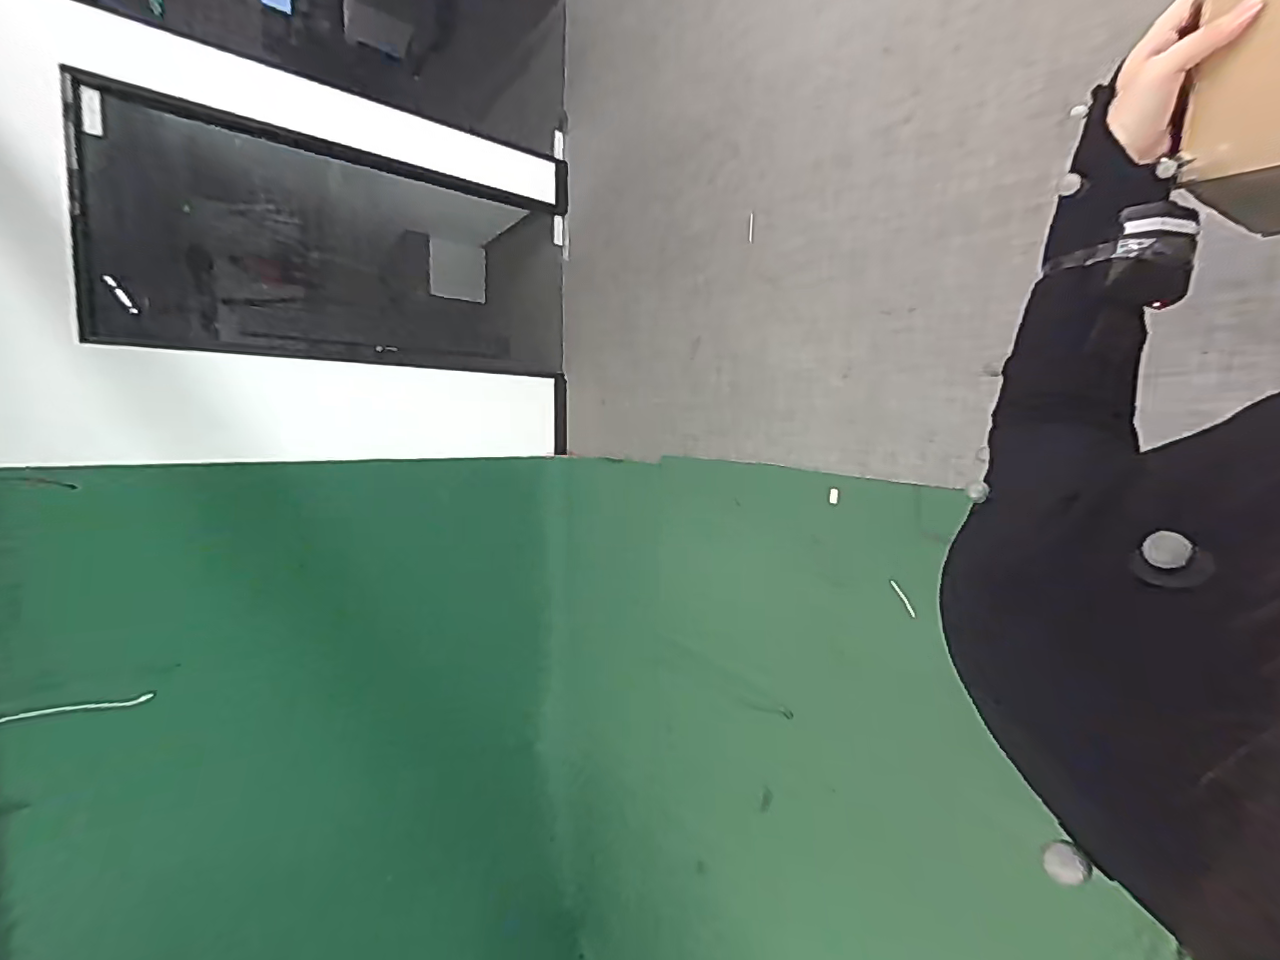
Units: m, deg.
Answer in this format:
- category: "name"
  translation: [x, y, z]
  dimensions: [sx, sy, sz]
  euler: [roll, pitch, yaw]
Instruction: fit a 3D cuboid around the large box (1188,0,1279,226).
- category: "large box"
  translation: [0.646, -0.364, 0.299]
  dimensions: [0.408, 0.320, 0.320]
  euler: [15, 109, 56]
